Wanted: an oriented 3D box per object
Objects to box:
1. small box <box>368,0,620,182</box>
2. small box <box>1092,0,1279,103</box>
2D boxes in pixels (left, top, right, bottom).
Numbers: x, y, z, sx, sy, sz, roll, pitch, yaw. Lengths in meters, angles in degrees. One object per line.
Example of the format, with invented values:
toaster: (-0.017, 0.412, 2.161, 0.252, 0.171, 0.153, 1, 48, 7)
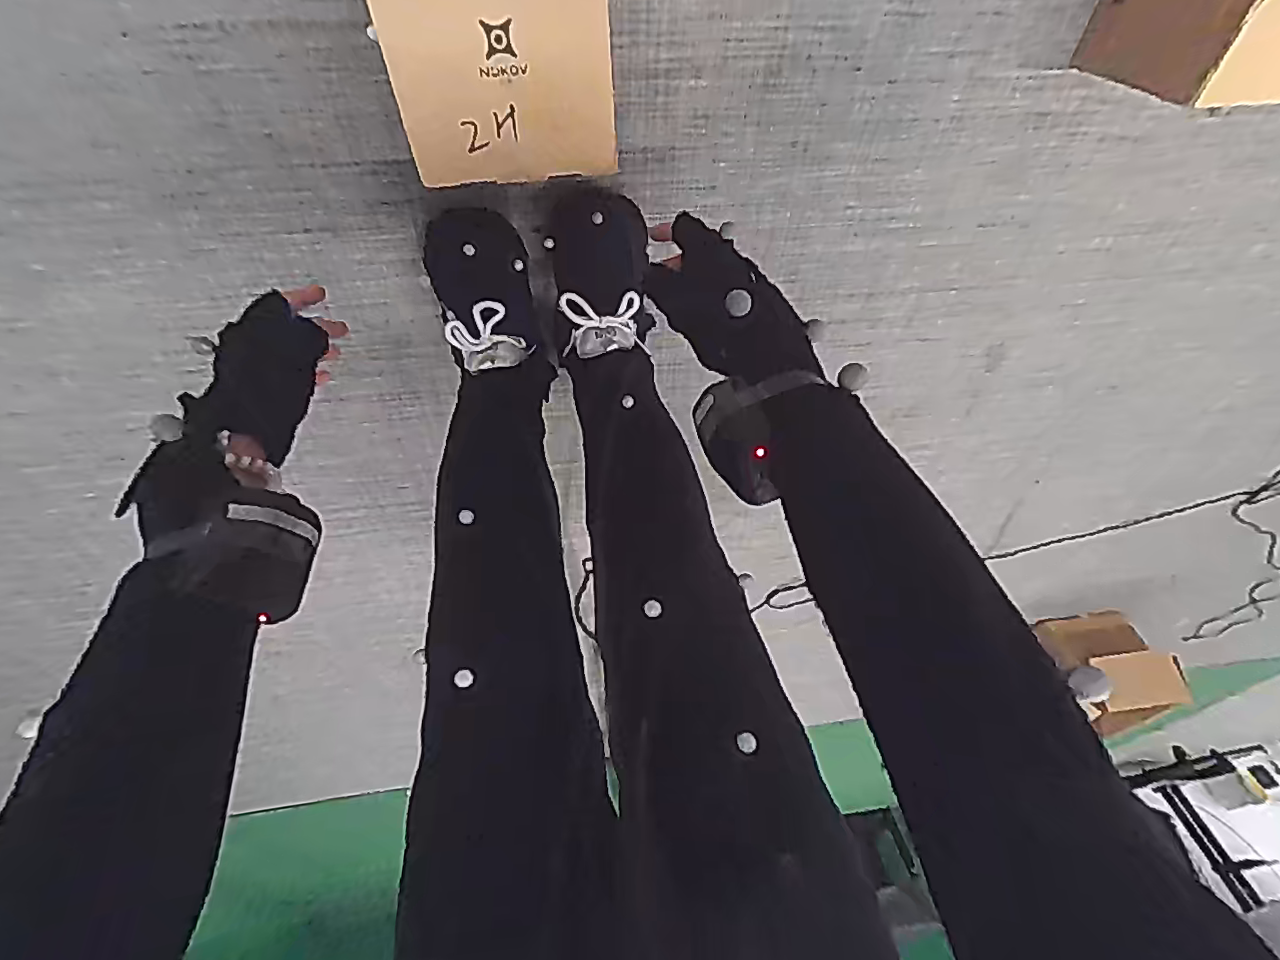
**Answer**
small box: (-0.109, -0.365, 0.430, 0.168, 0.176, 0.179, -6, 139, -4)
small box: (0.570, -0.453, 0.470, 0.179, 0.176, 0.168, -6, 140, -4)
